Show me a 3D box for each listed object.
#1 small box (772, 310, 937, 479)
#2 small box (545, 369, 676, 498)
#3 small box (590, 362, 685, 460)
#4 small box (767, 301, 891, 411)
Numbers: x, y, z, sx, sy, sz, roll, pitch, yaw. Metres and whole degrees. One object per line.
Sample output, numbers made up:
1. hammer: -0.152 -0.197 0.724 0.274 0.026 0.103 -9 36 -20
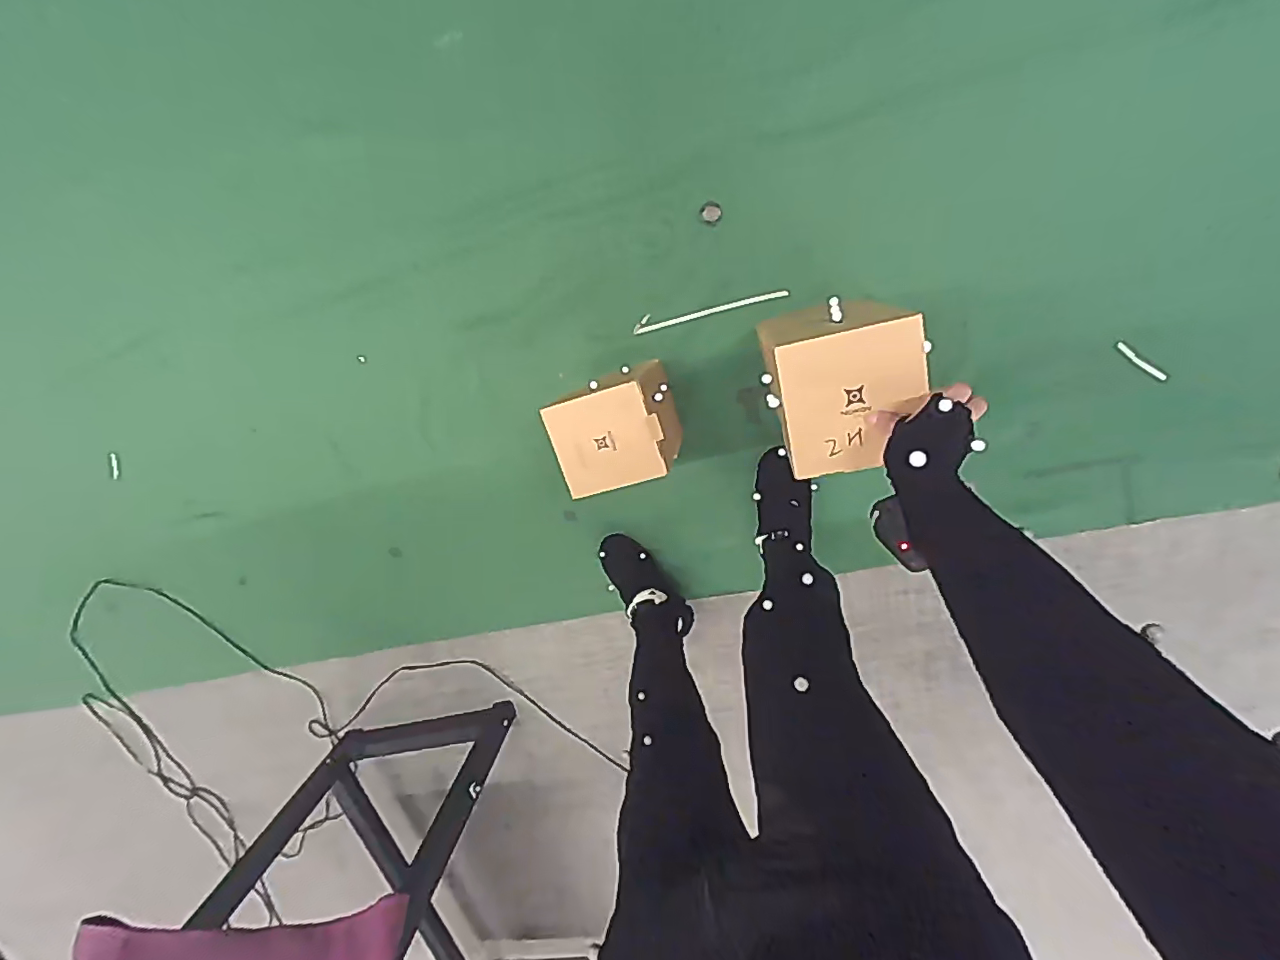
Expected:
1. small box: 0.273 -0.121 0.717 0.168 0.176 0.179 -10 109 14
2. small box: -0.040 -0.089 0.959 0.179 0.176 0.168 -14 106 14
3. small box: -0.011 -0.129 1.114 0.168 0.176 0.179 -15 106 14
4. small box: 0.304 -0.178 0.868 0.168 0.176 0.179 -12 109 13
